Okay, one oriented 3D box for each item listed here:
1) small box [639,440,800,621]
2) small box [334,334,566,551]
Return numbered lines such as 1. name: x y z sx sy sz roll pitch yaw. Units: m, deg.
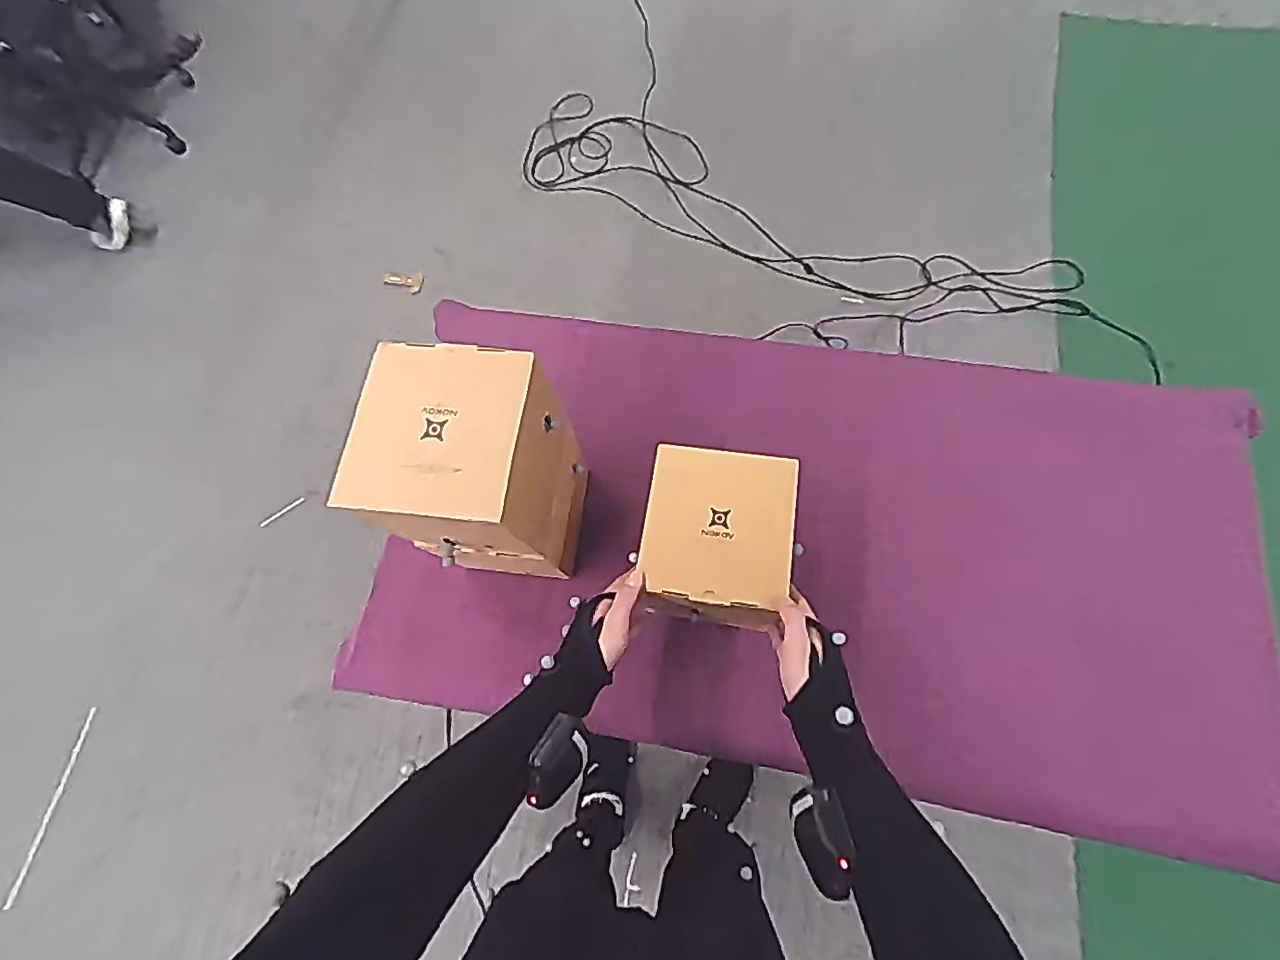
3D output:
1. small box: 0.096 0.070 0.681 0.168 0.176 0.179 7 71 7
2. small box: -0.184 -0.031 0.585 0.168 0.176 0.179 6 73 6
